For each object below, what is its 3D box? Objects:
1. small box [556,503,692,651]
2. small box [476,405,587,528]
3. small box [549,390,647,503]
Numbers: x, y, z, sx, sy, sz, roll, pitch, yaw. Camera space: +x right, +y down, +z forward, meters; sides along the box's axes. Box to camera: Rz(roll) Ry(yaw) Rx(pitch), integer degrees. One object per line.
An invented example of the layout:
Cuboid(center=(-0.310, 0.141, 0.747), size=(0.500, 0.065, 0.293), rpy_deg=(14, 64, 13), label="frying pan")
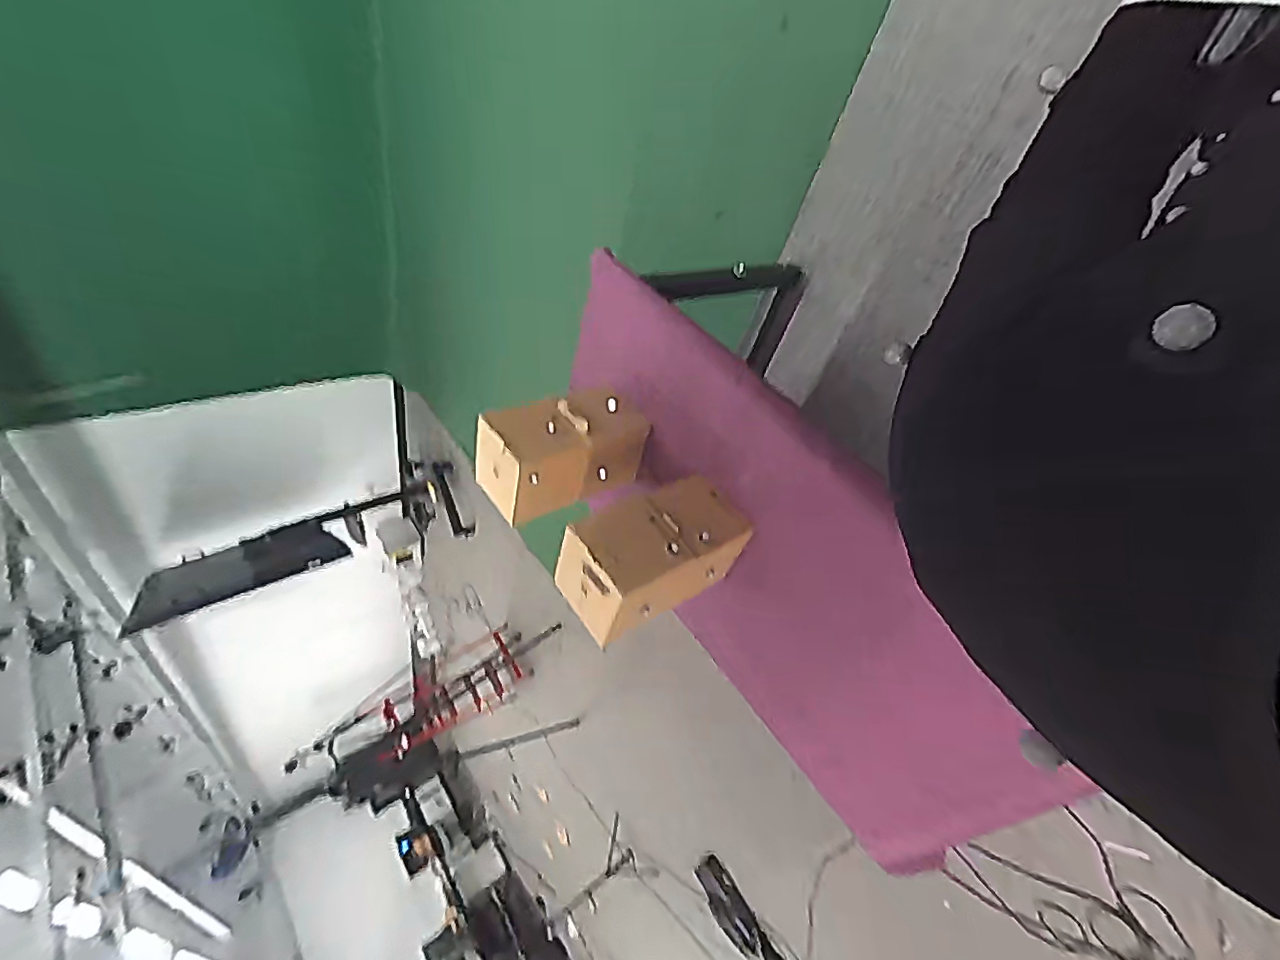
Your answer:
Cuboid(center=(-0.029, 0.169, 0.987), size=(0.168, 0.176, 0.179), rpy_deg=(47, 140, 27), label="small box")
Cuboid(center=(-0.230, -0.033, 1.142), size=(0.168, 0.176, 0.179), rpy_deg=(45, 136, 28), label="small box")
Cuboid(center=(-0.105, -0.081, 1.236), size=(0.168, 0.176, 0.179), rpy_deg=(44, 136, 28), label="small box")
